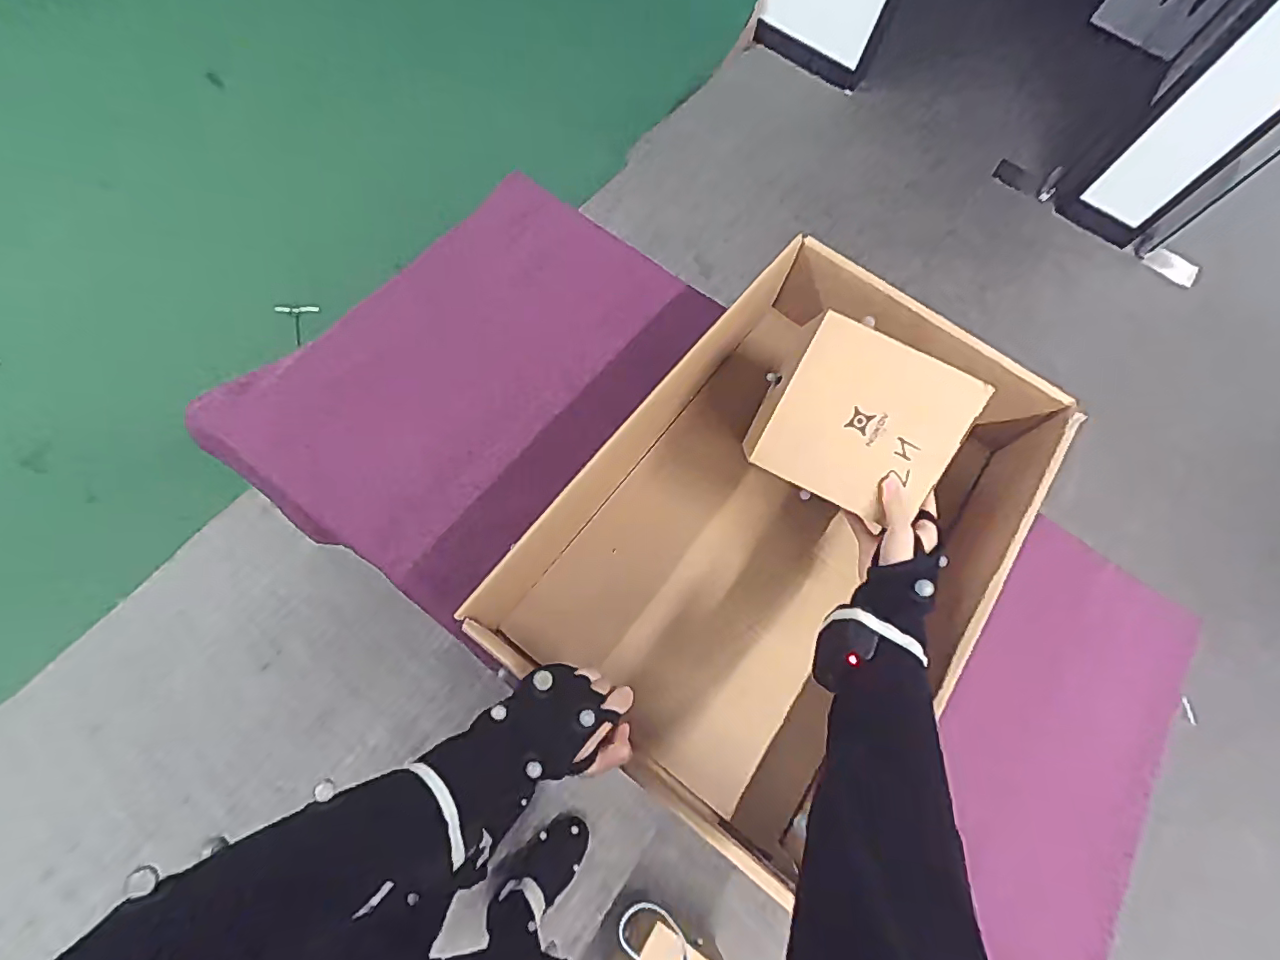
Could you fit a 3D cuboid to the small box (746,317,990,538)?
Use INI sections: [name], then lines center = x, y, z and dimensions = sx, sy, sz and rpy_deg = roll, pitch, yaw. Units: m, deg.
[small box]
center = 0.232, -0.062, 0.610
dimensions = 0.179, 0.176, 0.168
rpy_deg = 27, 104, 2
